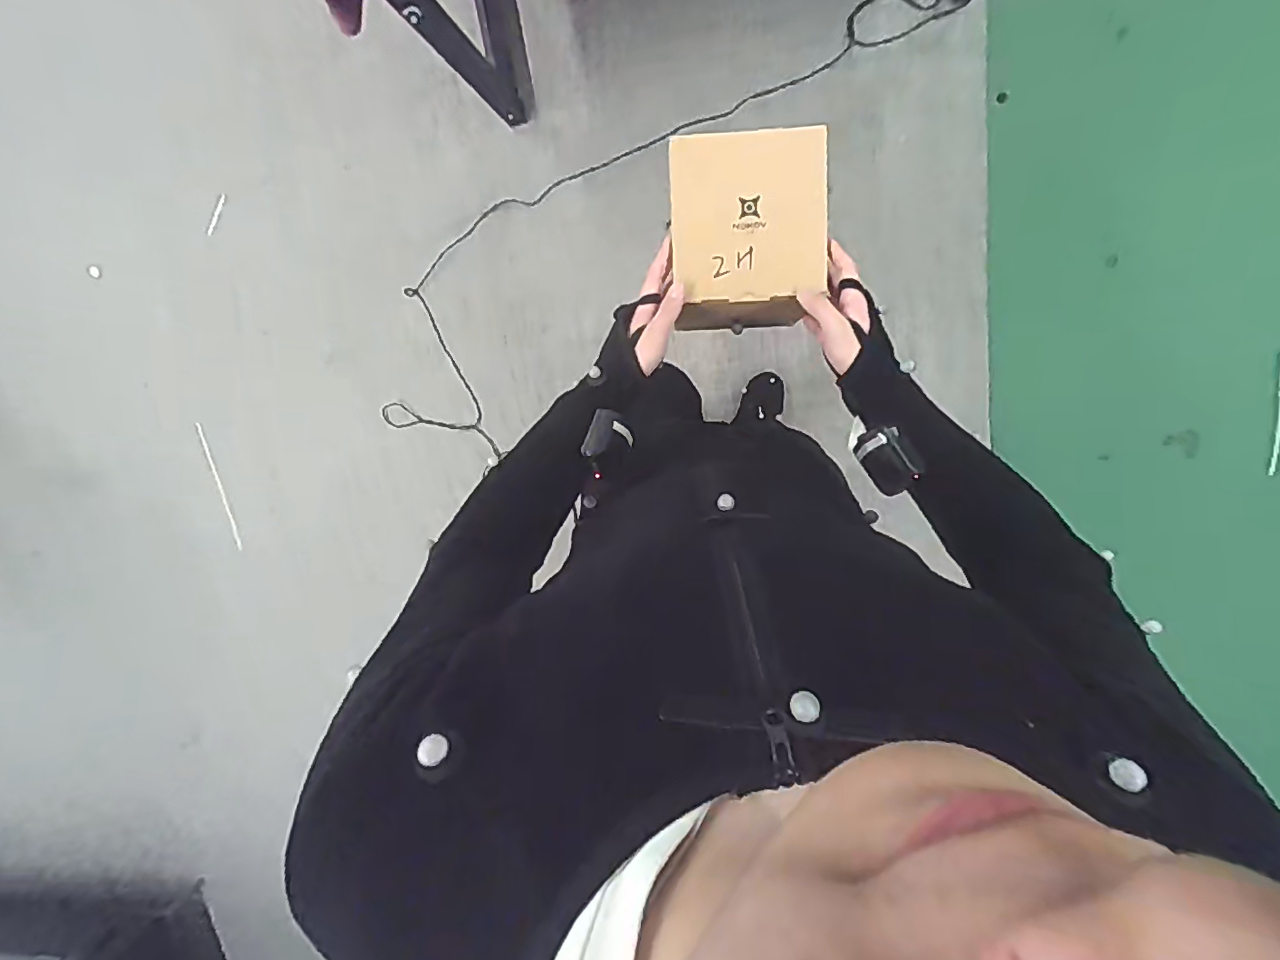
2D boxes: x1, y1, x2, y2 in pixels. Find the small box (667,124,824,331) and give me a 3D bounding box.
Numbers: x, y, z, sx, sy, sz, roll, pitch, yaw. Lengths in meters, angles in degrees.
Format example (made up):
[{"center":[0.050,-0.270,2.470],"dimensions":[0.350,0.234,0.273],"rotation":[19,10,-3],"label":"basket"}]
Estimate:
[{"center":[0.116,-0.287,0.649],"dimensions":[0.168,0.176,0.179],"rotation":[-1,95,5],"label":"small box"}]
